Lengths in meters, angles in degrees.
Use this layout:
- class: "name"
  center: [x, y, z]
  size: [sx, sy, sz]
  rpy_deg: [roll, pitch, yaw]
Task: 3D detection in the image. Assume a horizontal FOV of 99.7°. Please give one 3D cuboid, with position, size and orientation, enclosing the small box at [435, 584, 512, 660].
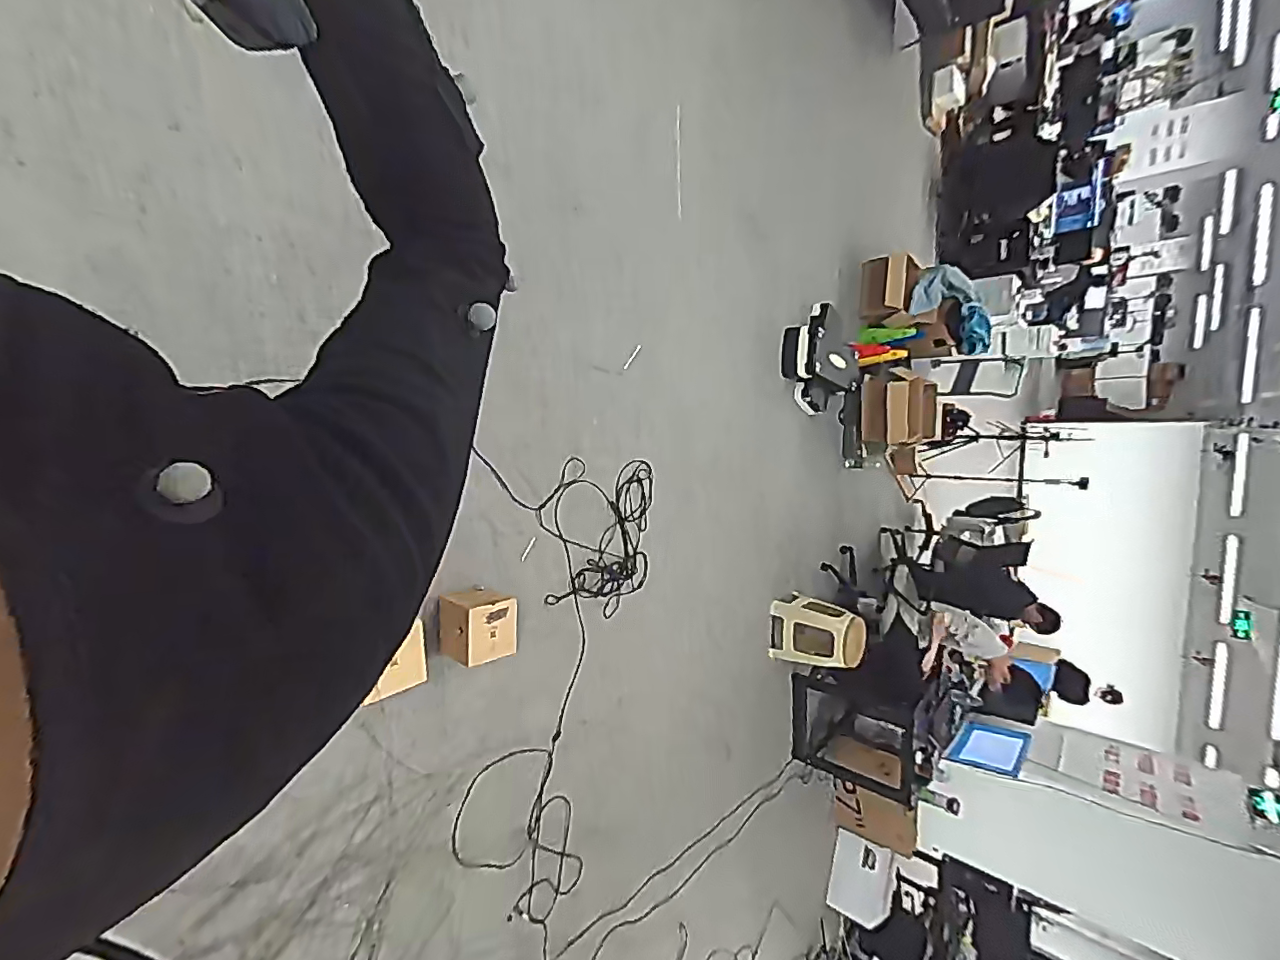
- class: "small box"
  center: [-0.507, 0.420, 1.644]
  size: [0.168, 0.176, 0.179]
  rpy_deg: [-3, 97, -49]
